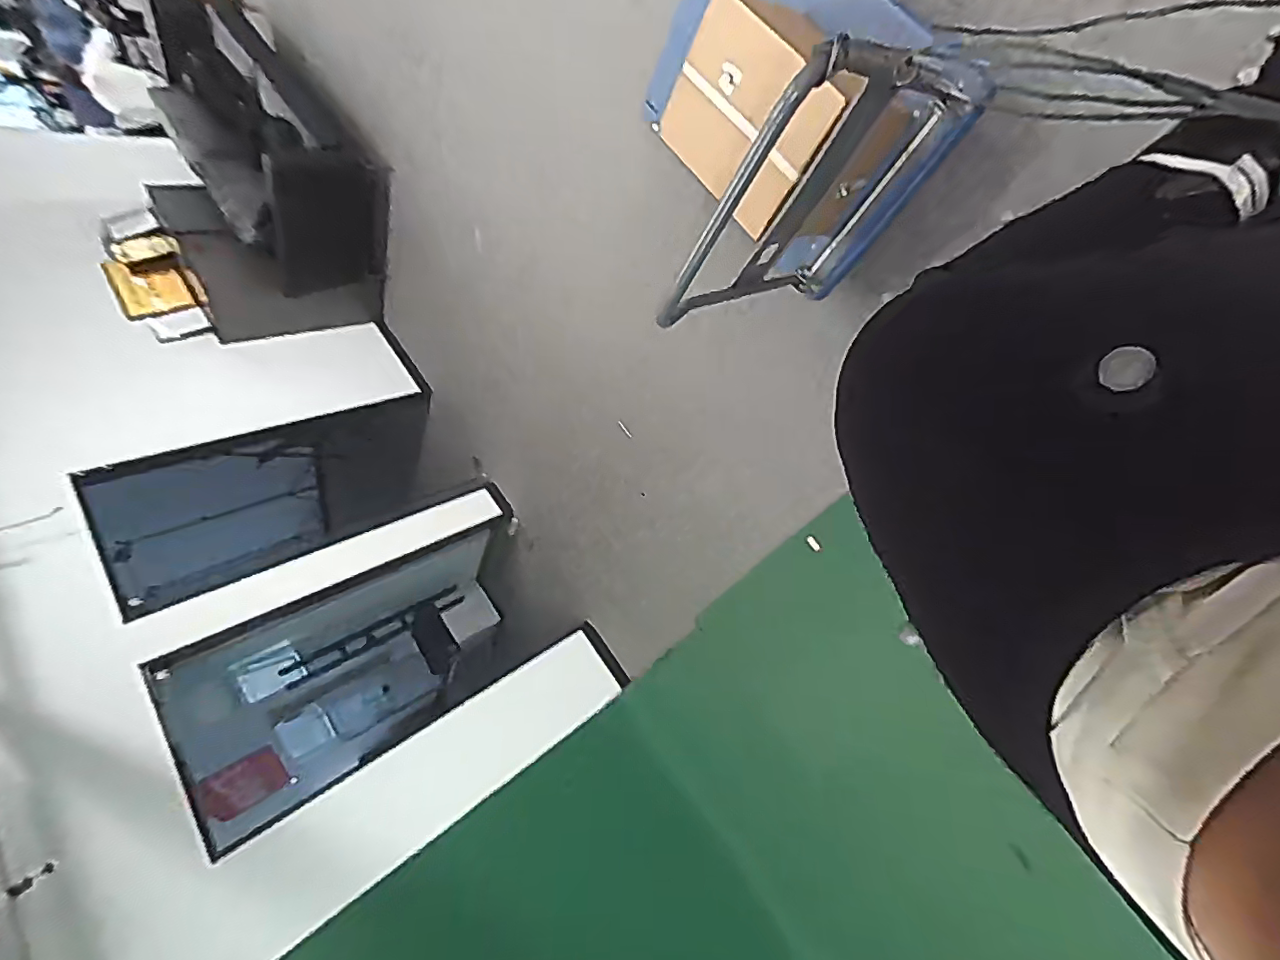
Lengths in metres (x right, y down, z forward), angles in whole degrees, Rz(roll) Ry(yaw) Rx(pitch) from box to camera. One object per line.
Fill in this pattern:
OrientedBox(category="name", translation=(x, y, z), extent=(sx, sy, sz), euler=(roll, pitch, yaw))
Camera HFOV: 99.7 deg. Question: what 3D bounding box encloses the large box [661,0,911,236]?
OrientedBox(category="large box", translation=(0.328, -0.835, 1.267), extent=(0.408, 0.320, 0.320), euler=(55, 140, 16))
